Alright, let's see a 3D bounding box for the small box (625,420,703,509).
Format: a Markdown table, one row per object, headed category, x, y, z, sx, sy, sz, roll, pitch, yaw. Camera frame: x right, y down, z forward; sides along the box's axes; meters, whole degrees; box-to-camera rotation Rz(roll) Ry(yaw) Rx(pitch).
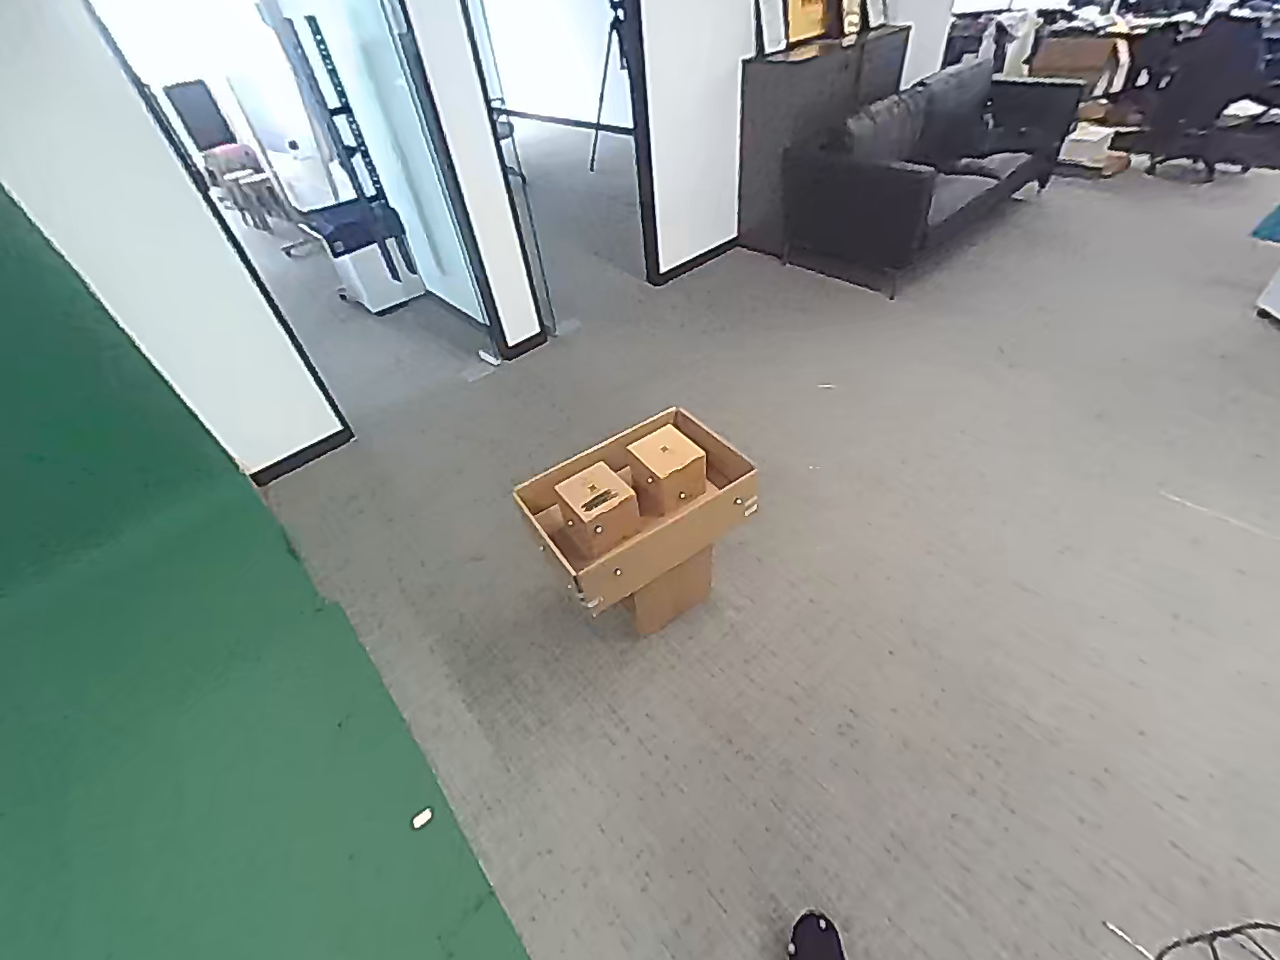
| category | x | y | z | sx | sy | sz | roll | pitch | yaw |
| --- | --- | --- | --- | --- | --- | --- | --- | --- | --- |
| small box | 0.073 | -0.046 | 1.631 | 0.168 | 0.176 | 0.179 | -29 | 51 | -21 |
